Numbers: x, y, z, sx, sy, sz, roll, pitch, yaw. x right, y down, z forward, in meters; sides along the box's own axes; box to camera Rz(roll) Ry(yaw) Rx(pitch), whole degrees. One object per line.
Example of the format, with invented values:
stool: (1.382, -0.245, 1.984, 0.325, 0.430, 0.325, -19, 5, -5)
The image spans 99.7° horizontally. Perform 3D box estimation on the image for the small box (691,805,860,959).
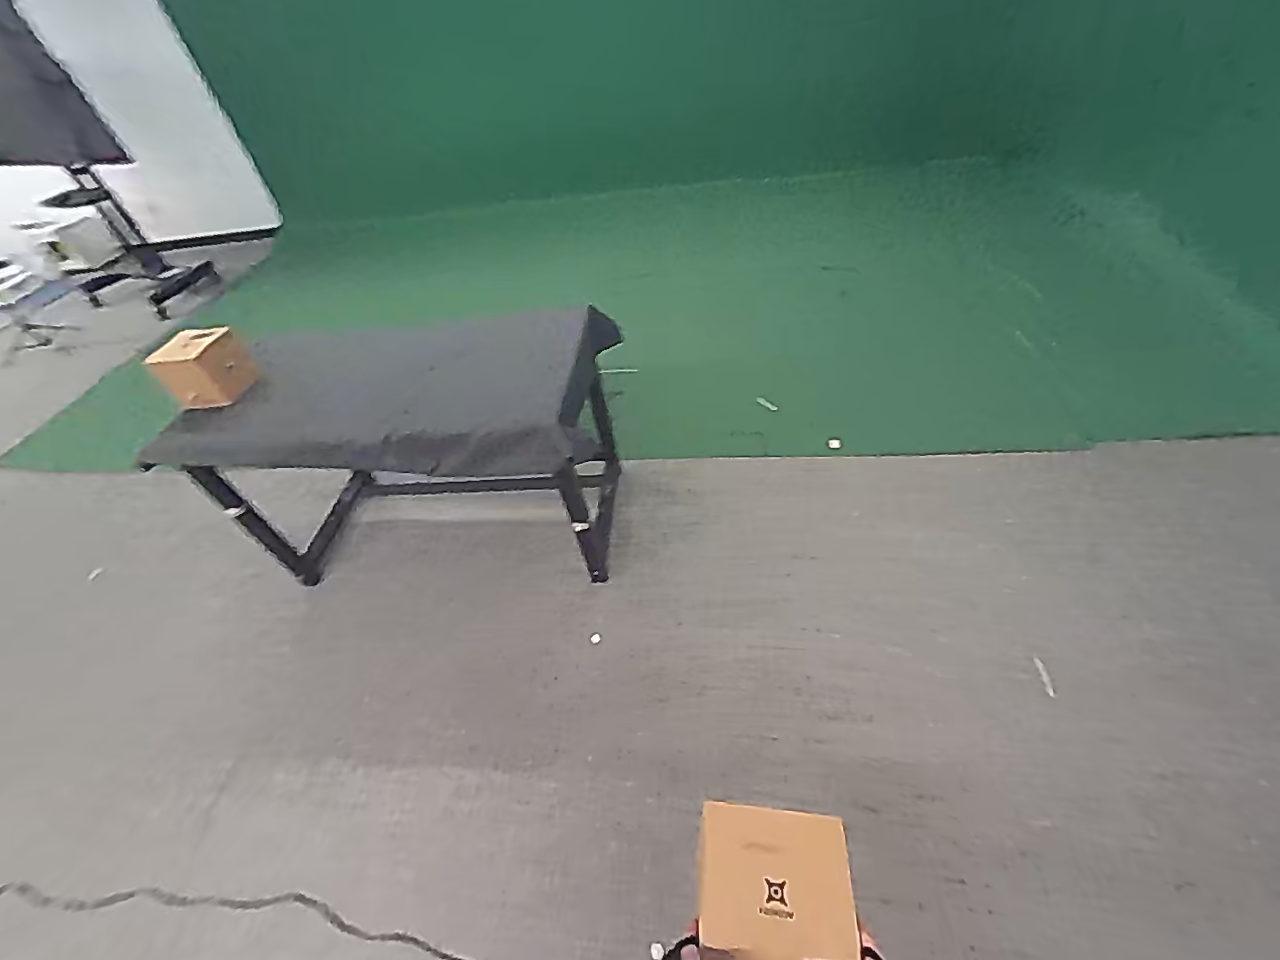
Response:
small box: (0.149, 0.520, 0.640, 0.168, 0.176, 0.179, 3, 38, 4)

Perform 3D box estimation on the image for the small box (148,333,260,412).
small box: (-1.300, -0.324, 1.633, 0.168, 0.176, 0.179, -2, 46, 8)
